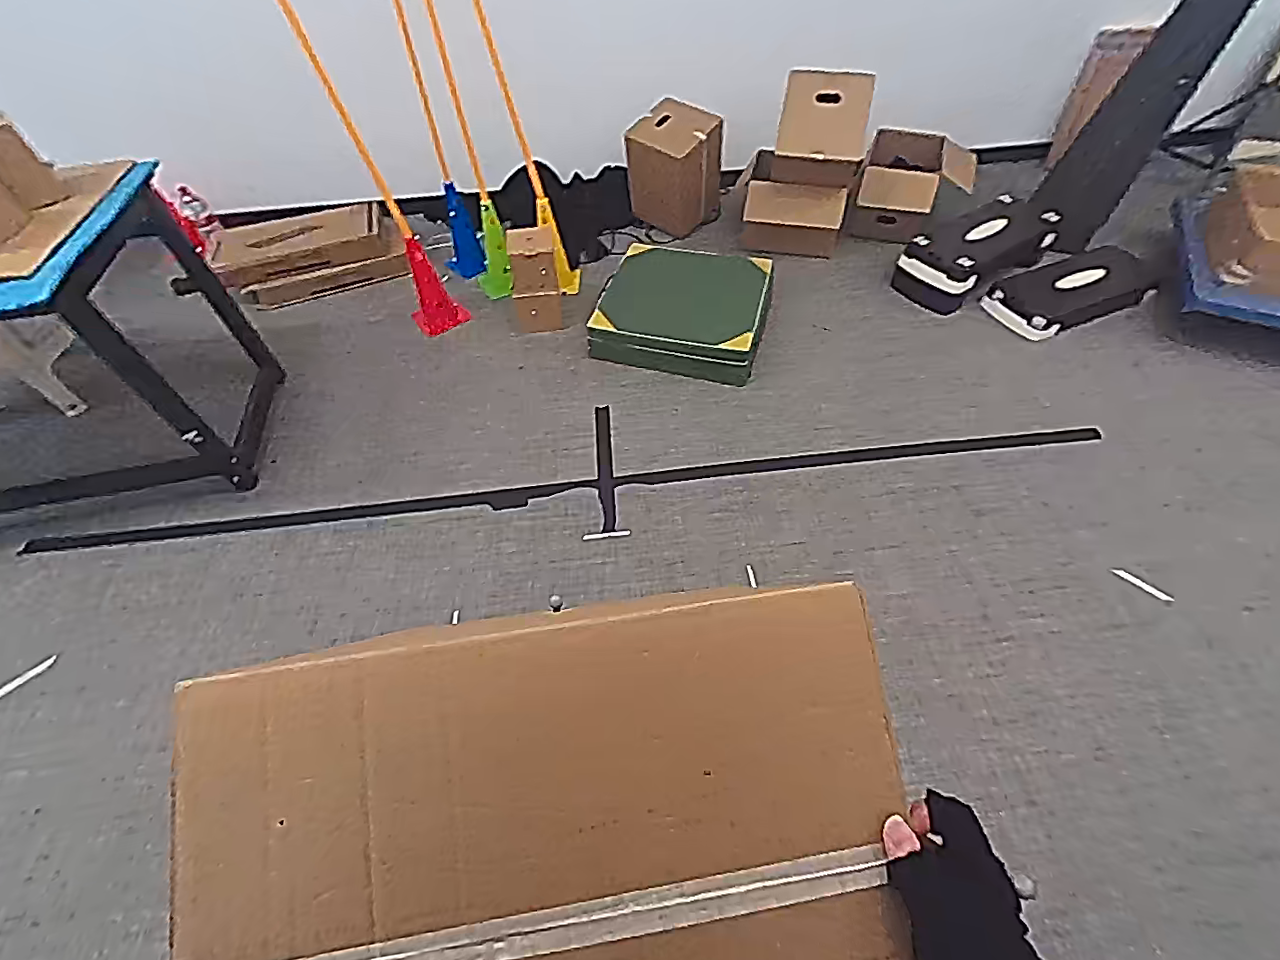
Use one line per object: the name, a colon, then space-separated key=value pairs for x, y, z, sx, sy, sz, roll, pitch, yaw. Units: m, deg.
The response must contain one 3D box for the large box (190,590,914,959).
large box: x=-0.051 y=0.282 z=0.454 sx=0.408 sy=0.320 sz=0.320 roll=-8 pitch=80 yaw=-5
